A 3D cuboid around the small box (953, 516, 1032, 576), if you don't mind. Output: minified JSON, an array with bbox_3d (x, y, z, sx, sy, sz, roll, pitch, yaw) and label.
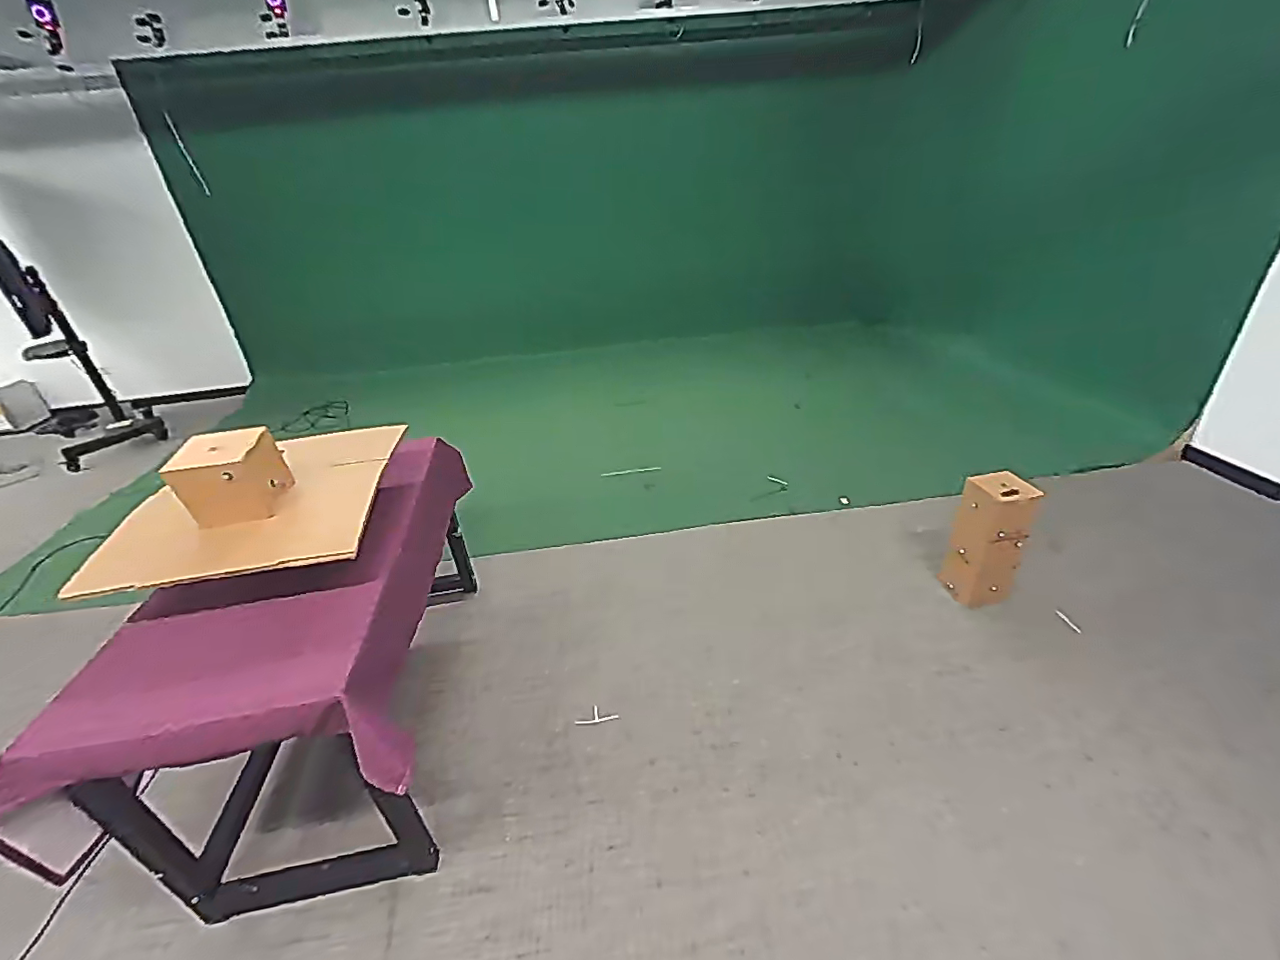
[{"bbox_3d":[1.308,0.235,2.021,0.179,0.176,0.168,-11,29,-6],"label":"small box"}]

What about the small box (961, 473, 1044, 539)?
[{"bbox_3d":[1.288,0.097,1.932,0.168,0.176,0.179,-9,29,-4],"label":"small box"}]

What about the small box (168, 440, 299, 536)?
[{"bbox_3d":[-0.998,0.023,1.346,0.179,0.176,0.168,-9,36,-7],"label":"small box"}]
